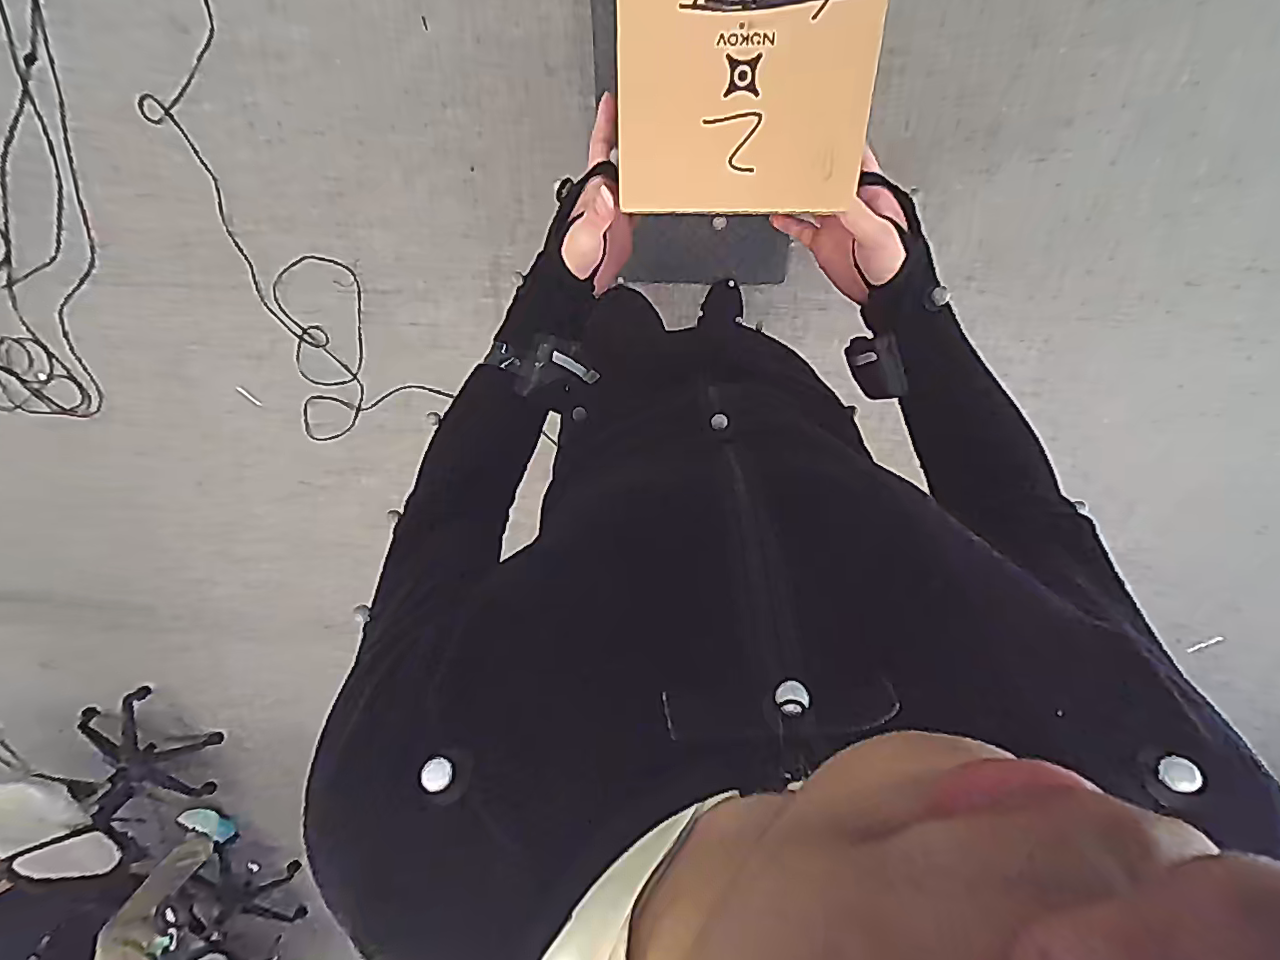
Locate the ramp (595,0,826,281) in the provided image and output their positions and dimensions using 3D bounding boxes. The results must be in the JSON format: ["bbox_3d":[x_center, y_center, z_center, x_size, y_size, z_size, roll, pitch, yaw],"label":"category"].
[{"bbox_3d":[0.147,-0.955,1.183,0.509,0.206,0.991,1,113,6],"label":"ramp"}]
